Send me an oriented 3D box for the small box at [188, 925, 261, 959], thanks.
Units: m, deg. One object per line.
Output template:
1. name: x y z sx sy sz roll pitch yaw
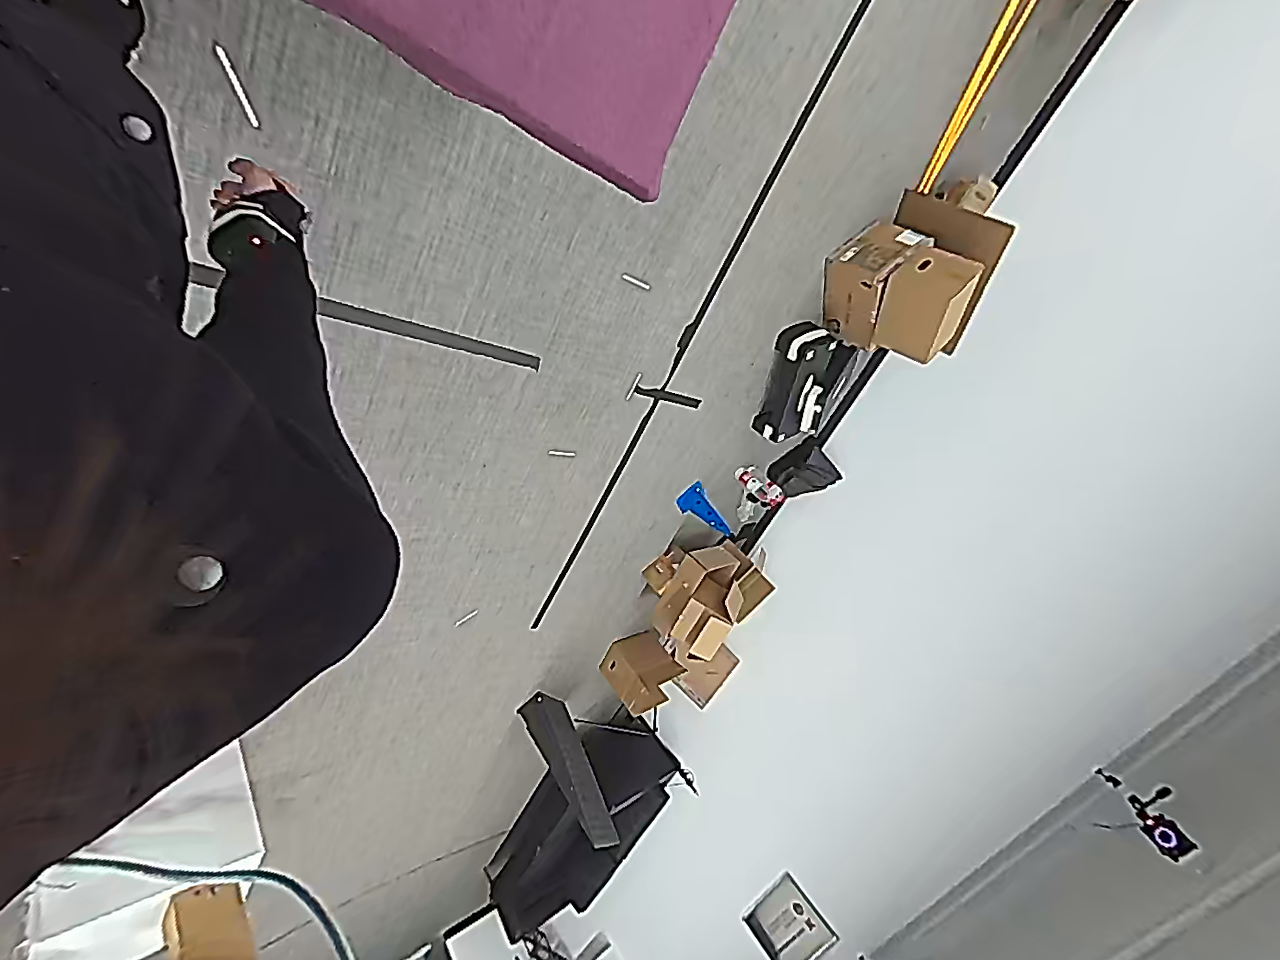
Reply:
1. small box: -1.240 1.478 1.591 0.179 0.176 0.168 -2 129 -50

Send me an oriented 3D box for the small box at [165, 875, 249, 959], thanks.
1. small box: -1.344 1.382 1.673 0.168 0.176 0.179 5 123 -51
